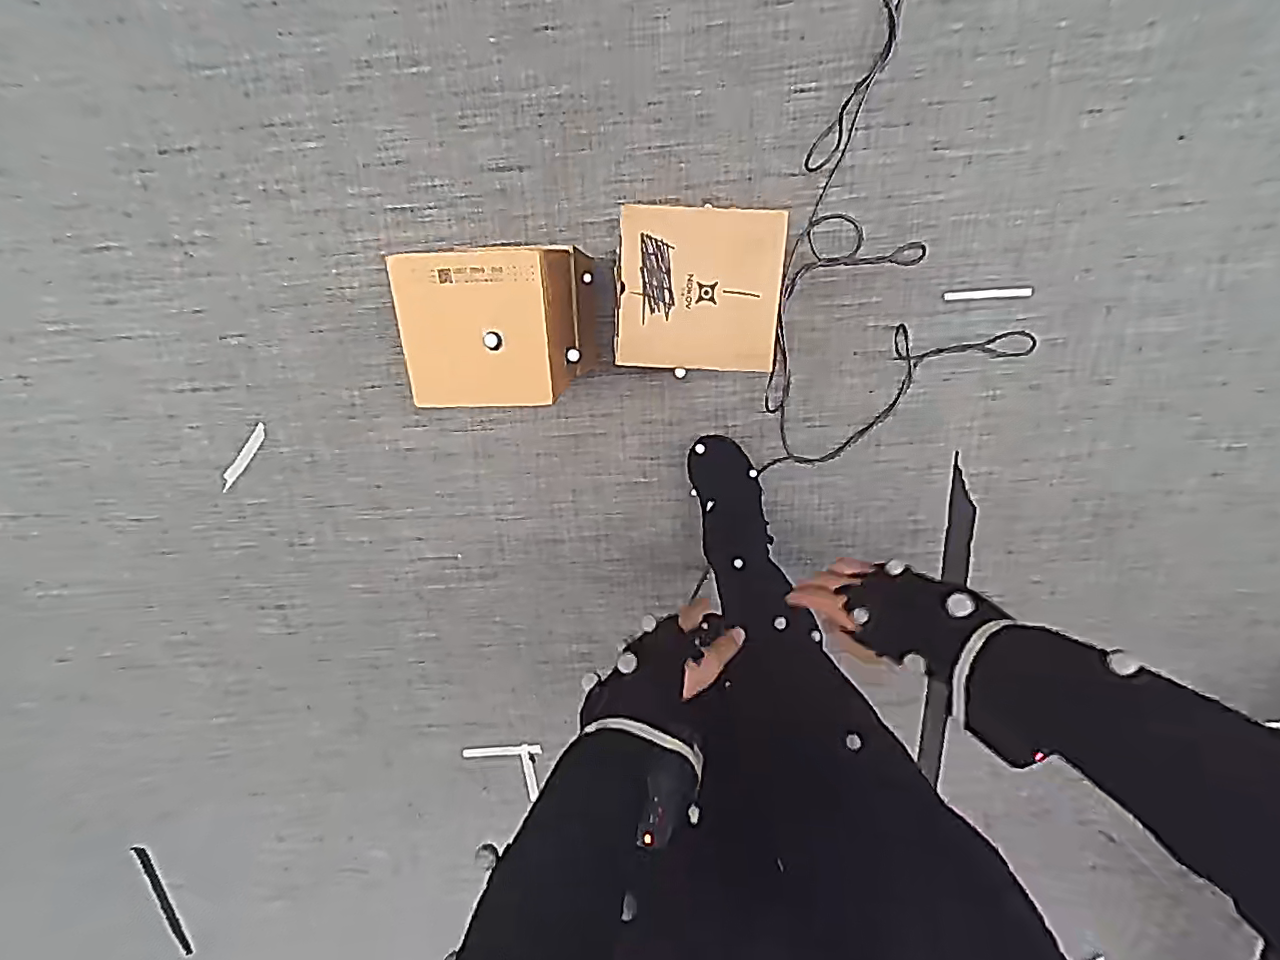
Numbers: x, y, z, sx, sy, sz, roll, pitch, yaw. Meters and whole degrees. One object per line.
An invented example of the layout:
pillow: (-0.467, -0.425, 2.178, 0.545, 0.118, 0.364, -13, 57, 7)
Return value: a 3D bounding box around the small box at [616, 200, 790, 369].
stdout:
small box: (0.067, -0.228, 0.653, 0.179, 0.176, 0.168, 3, 107, 1)
